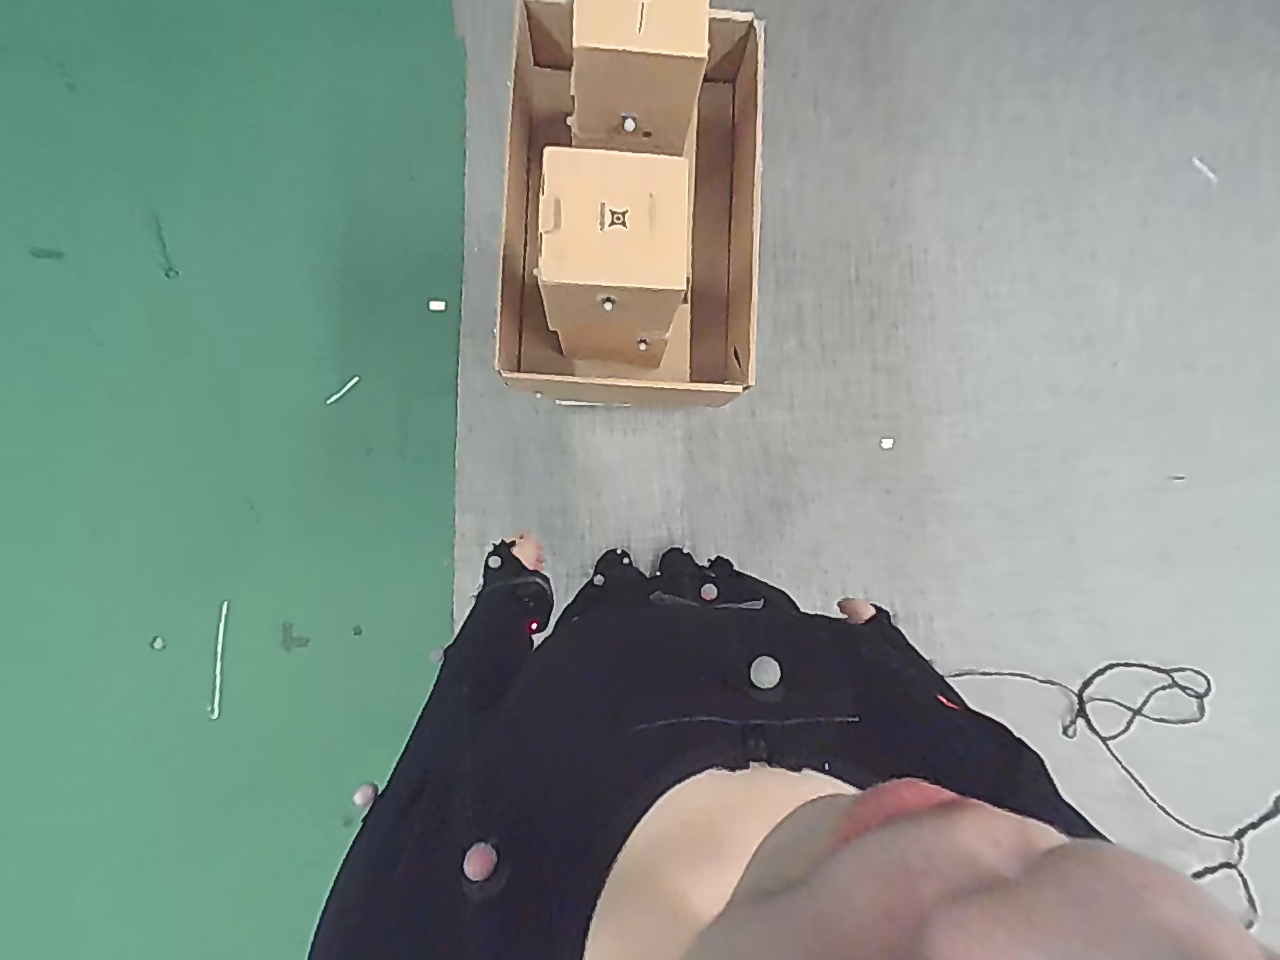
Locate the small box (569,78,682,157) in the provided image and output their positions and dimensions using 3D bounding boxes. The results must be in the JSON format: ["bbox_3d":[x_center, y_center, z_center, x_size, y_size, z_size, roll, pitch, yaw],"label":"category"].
[{"bbox_3d":[-0.020,-0.595,0.897,0.179,0.176,0.168,3,88,-4],"label":"small box"}]

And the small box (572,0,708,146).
[{"bbox_3d":[-0.005,-0.597,0.733,0.168,0.176,0.179,2,89,-5],"label":"small box"}]

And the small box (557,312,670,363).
[{"bbox_3d":[-0.042,-0.300,0.882,0.179,0.176,0.168,6,86,-5],"label":"small box"}]

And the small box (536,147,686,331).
[{"bbox_3d":[-0.039,-0.306,0.720,0.179,0.176,0.168,1,87,-6],"label":"small box"}]
